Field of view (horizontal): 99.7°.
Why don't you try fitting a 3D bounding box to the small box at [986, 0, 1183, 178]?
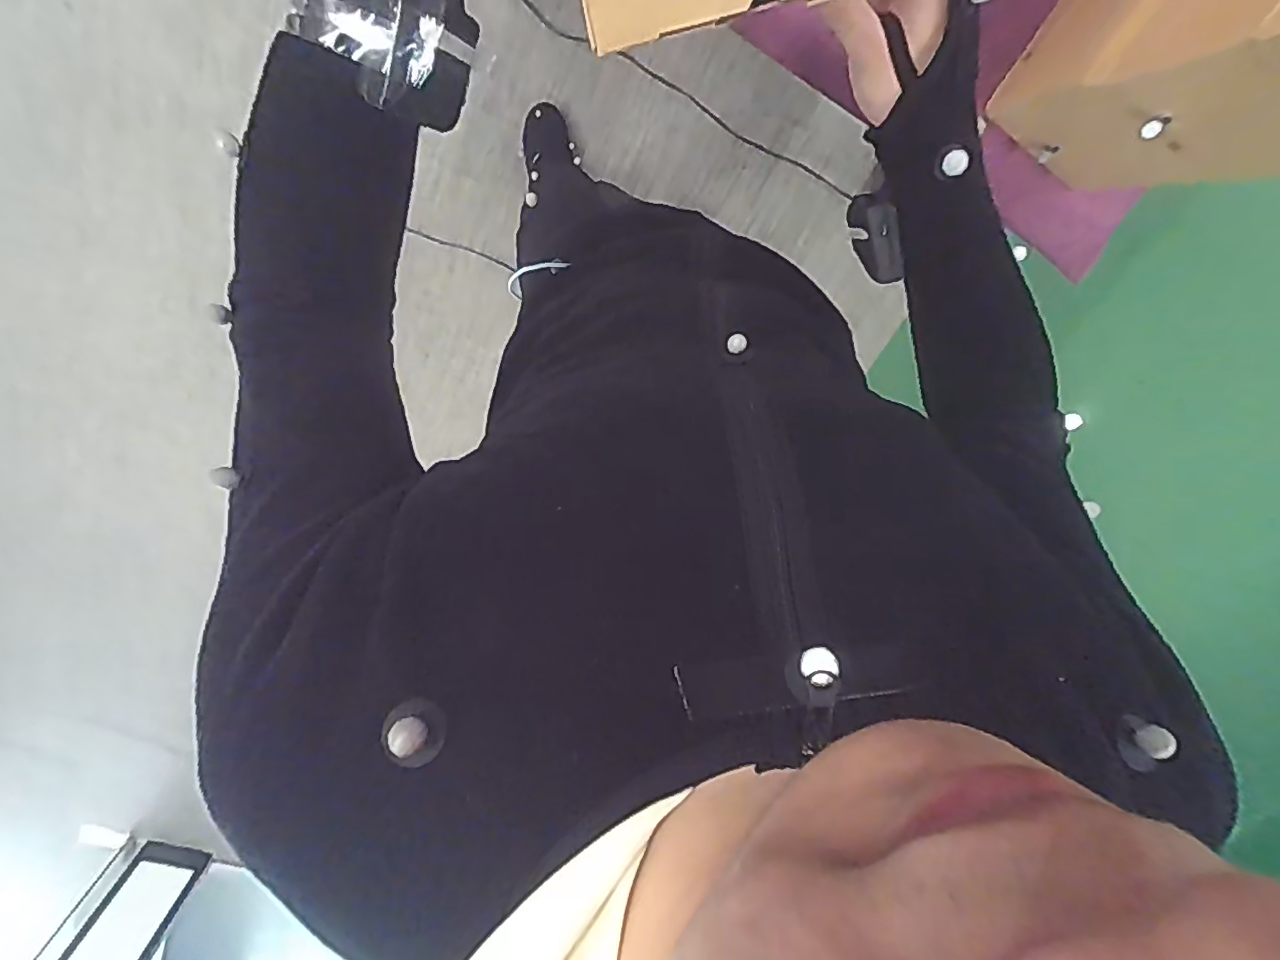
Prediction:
[{"bbox_3d":[0.544,-0.462,0.599,0.179,0.176,0.168,28,112,-13],"label":"small box"}]
